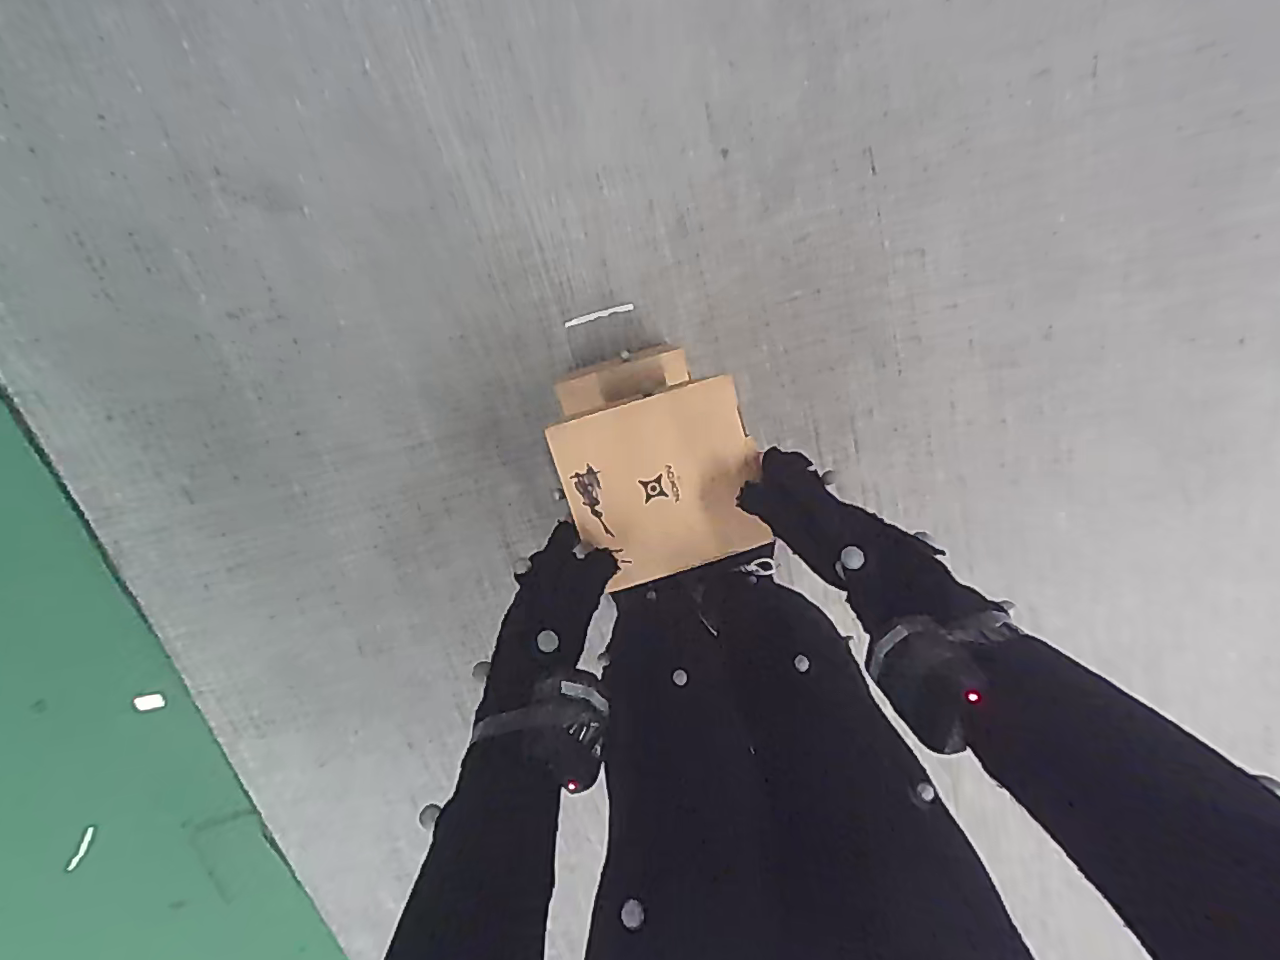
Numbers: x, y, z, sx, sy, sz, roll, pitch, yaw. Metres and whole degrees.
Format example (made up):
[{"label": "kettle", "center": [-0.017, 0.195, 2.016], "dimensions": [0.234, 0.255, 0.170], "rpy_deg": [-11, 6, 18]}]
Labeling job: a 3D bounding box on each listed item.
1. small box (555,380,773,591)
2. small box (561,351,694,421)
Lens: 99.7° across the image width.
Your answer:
[{"label": "small box", "center": [0.019, -0.006, 0.580], "dimensions": [0.179, 0.176, 0.168], "rpy_deg": [-16, 99, -2]}, {"label": "small box", "center": [-0.006, -0.089, 0.801], "dimensions": [0.179, 0.176, 0.168], "rpy_deg": [-15, 106, 2]}]
